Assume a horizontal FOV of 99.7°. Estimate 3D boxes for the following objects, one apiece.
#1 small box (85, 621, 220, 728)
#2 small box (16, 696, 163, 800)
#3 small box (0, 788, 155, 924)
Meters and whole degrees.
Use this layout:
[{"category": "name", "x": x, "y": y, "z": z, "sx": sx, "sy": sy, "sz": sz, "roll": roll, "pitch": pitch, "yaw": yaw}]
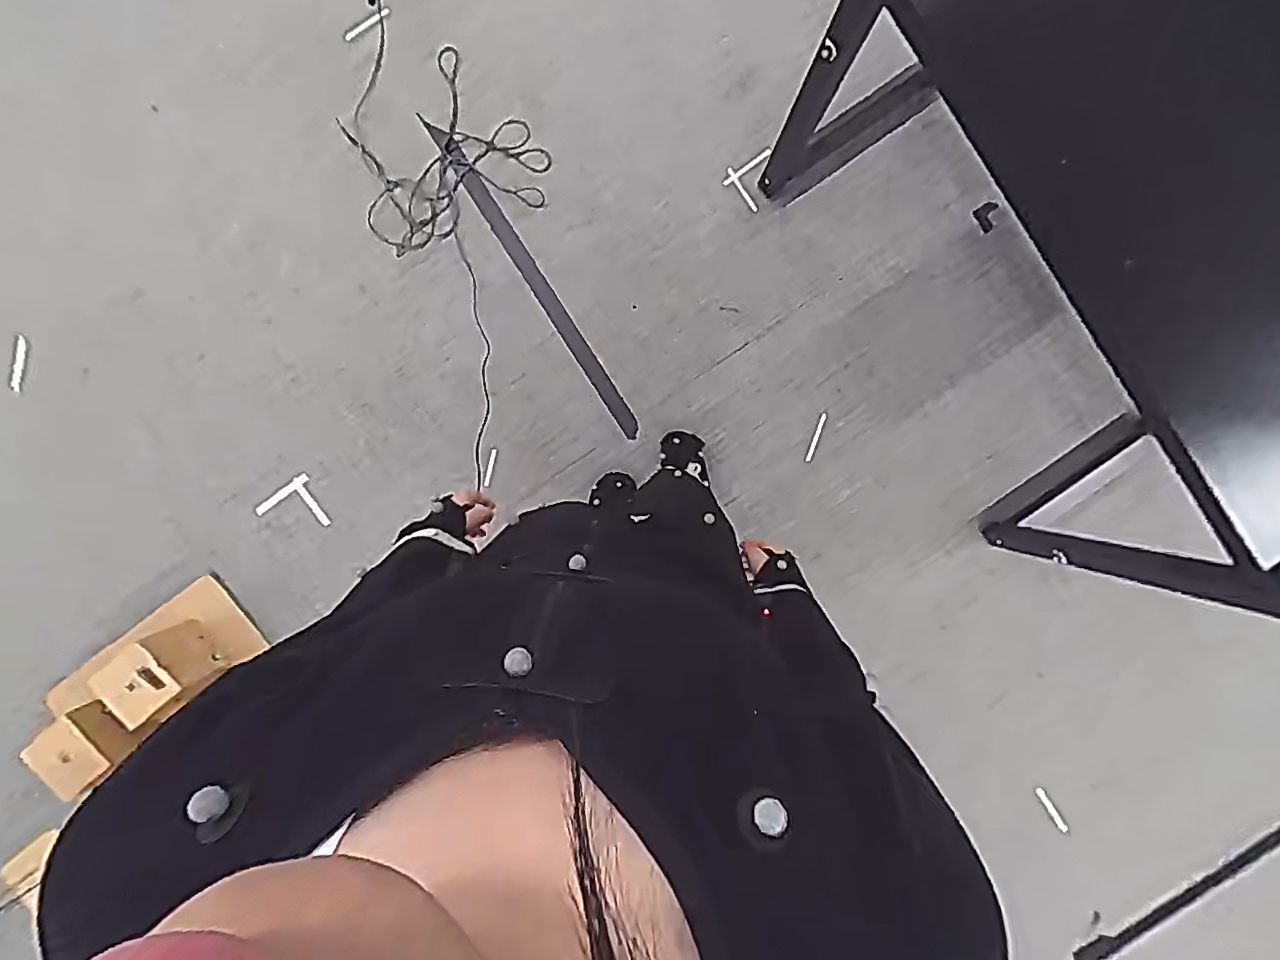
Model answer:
[{"category": "small box", "x": -1.261, "y": 0.500, "z": 1.420, "sx": 0.179, "sy": 0.176, "sz": 0.168, "roll": -39, "pitch": 93, "yaw": 2}, {"category": "small box", "x": -1.445, "y": 0.686, "z": 1.431, "sx": 0.168, "sy": 0.176, "sz": 0.179, "roll": -40, "pitch": 93, "yaw": 3}, {"category": "small box", "x": -1.305, "y": 0.868, "z": 1.274, "sx": 0.168, "sy": 0.176, "sz": 0.179, "roll": -36, "pitch": 93, "yaw": 2}]
